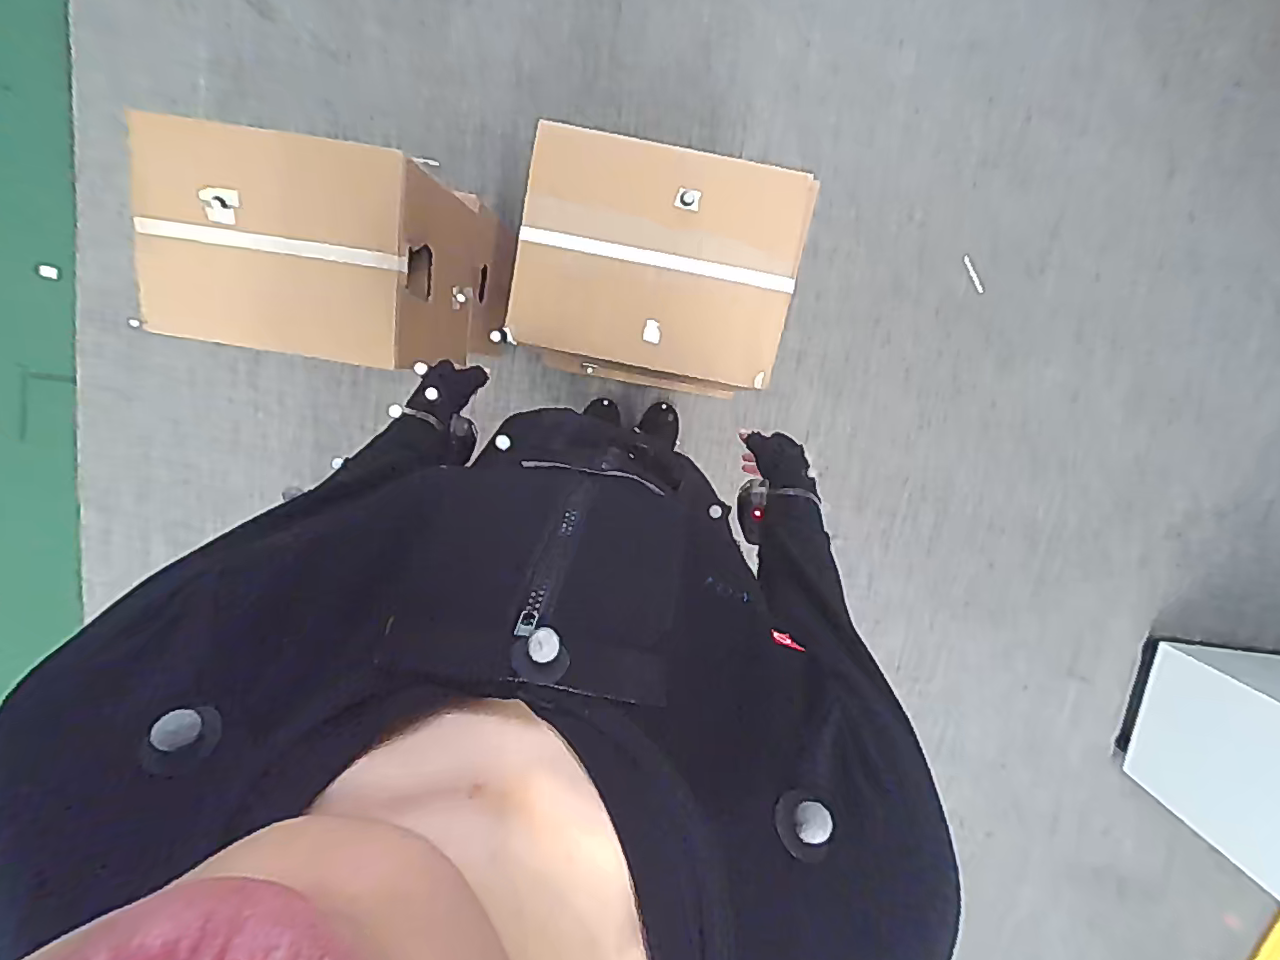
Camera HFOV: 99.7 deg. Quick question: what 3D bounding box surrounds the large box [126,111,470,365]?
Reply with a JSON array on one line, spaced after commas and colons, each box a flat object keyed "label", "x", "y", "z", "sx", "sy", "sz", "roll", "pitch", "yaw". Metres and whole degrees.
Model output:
[{"label": "large box", "x": -0.548, "y": -0.387, "z": 0.945, "sx": 0.408, "sy": 0.320, "sz": 0.320, "roll": 9, "pitch": 103, "yaw": 1}]
